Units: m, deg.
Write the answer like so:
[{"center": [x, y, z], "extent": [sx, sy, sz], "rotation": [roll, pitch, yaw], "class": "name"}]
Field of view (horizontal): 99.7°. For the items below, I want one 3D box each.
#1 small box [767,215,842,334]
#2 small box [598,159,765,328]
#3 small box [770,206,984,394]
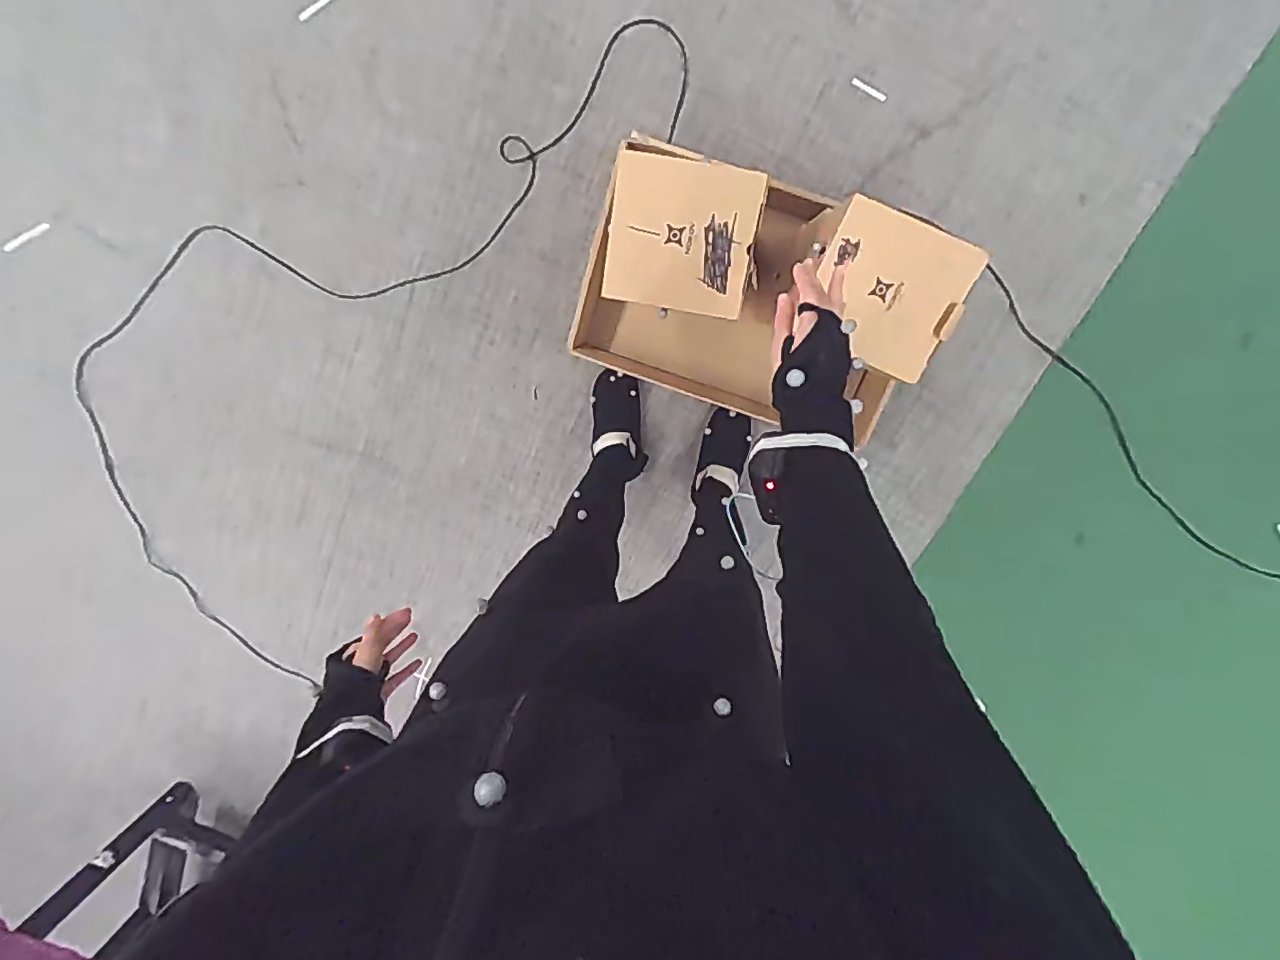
[{"center": [0.317, -0.295, 0.870], "extent": [0.168, 0.176, 0.179], "rotation": [21, 109, -1], "class": "small box"}, {"center": [0.052, -0.305, 0.721], "extent": [0.179, 0.176, 0.168], "rotation": [10, 109, 1], "class": "small box"}, {"center": [0.295, -0.234, 0.718], "extent": [0.179, 0.176, 0.168], "rotation": [24, 108, -2], "class": "small box"}]
